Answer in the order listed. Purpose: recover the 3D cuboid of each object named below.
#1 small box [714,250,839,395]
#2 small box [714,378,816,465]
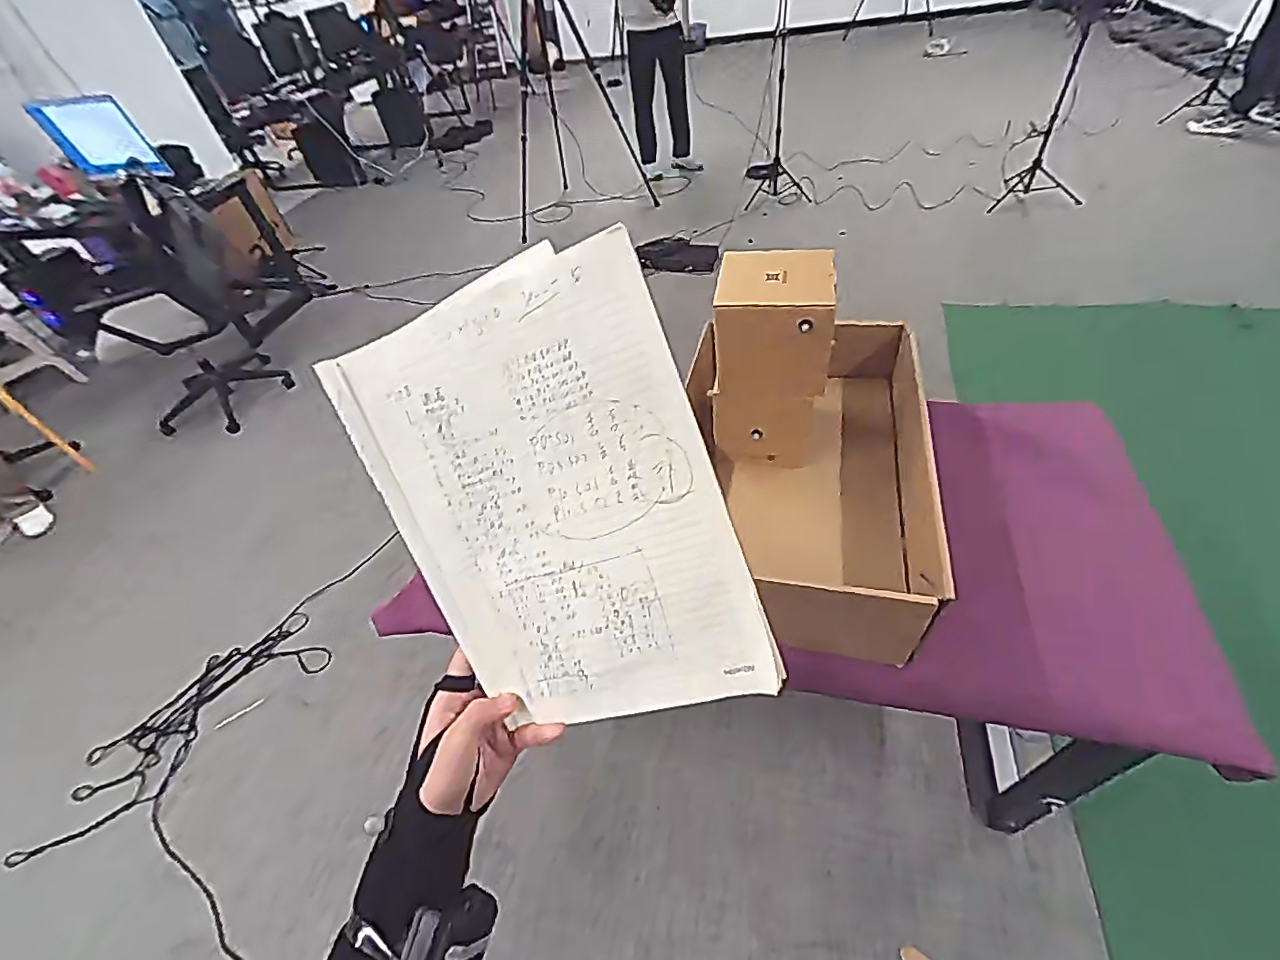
[{"bbox_3d":[0.219,-0.252,0.877,0.179,0.176,0.168,4,49,13],"label":"small box"},{"bbox_3d":[0.236,-0.147,0.998,0.168,0.176,0.179,6,50,15],"label":"small box"}]
